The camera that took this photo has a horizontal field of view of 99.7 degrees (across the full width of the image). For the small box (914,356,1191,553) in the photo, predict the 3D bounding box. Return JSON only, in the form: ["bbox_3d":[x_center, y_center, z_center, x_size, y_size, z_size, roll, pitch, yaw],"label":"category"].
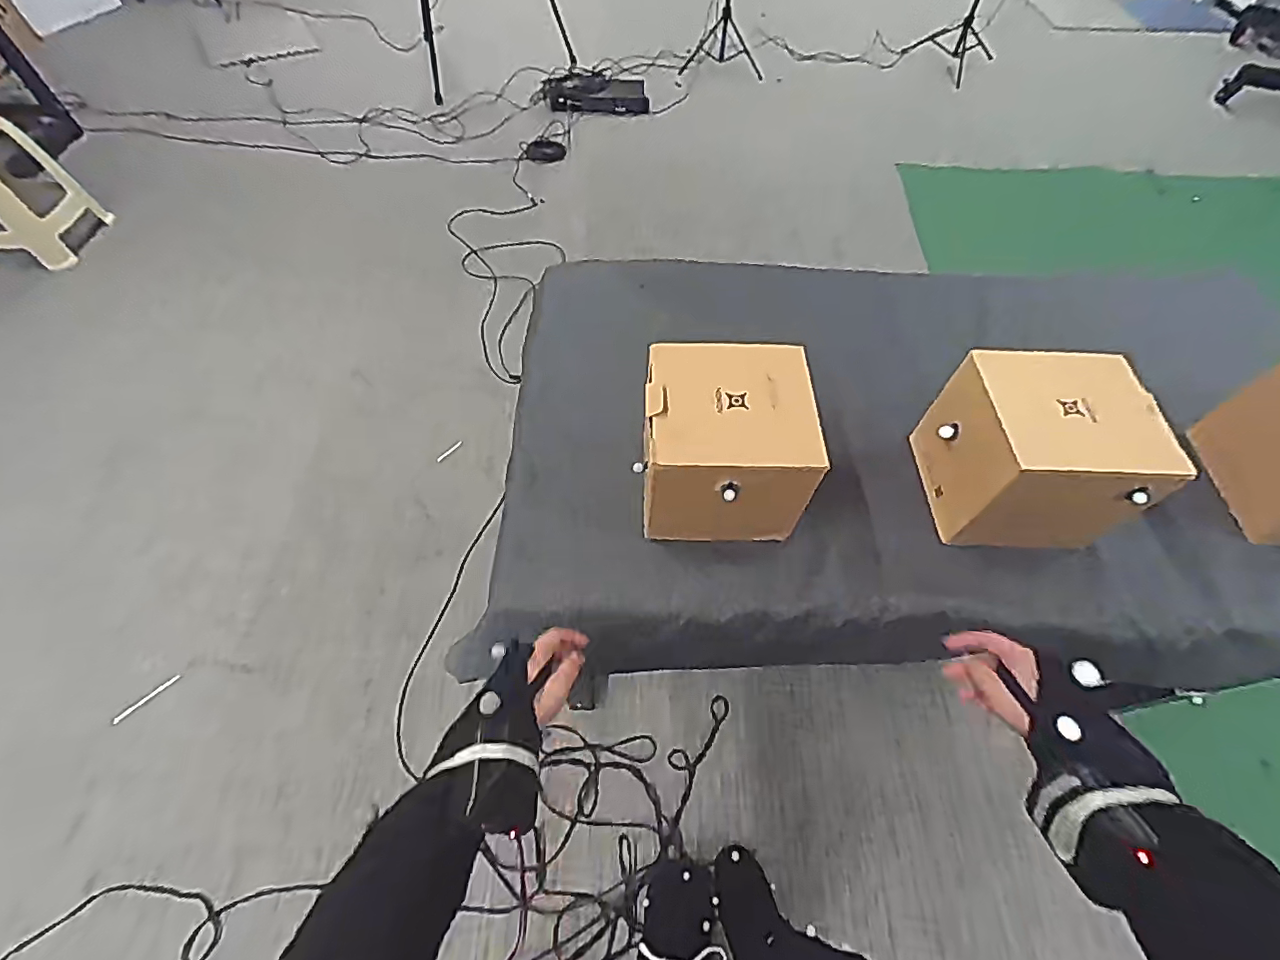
[{"bbox_3d":[0.447,-0.024,0.631,0.179,0.176,0.168,2,57,-1],"label":"small box"}]

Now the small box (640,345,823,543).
[{"bbox_3d":[0.089,-0.035,0.628,0.179,0.176,0.168,2,58,-2],"label":"small box"}]
